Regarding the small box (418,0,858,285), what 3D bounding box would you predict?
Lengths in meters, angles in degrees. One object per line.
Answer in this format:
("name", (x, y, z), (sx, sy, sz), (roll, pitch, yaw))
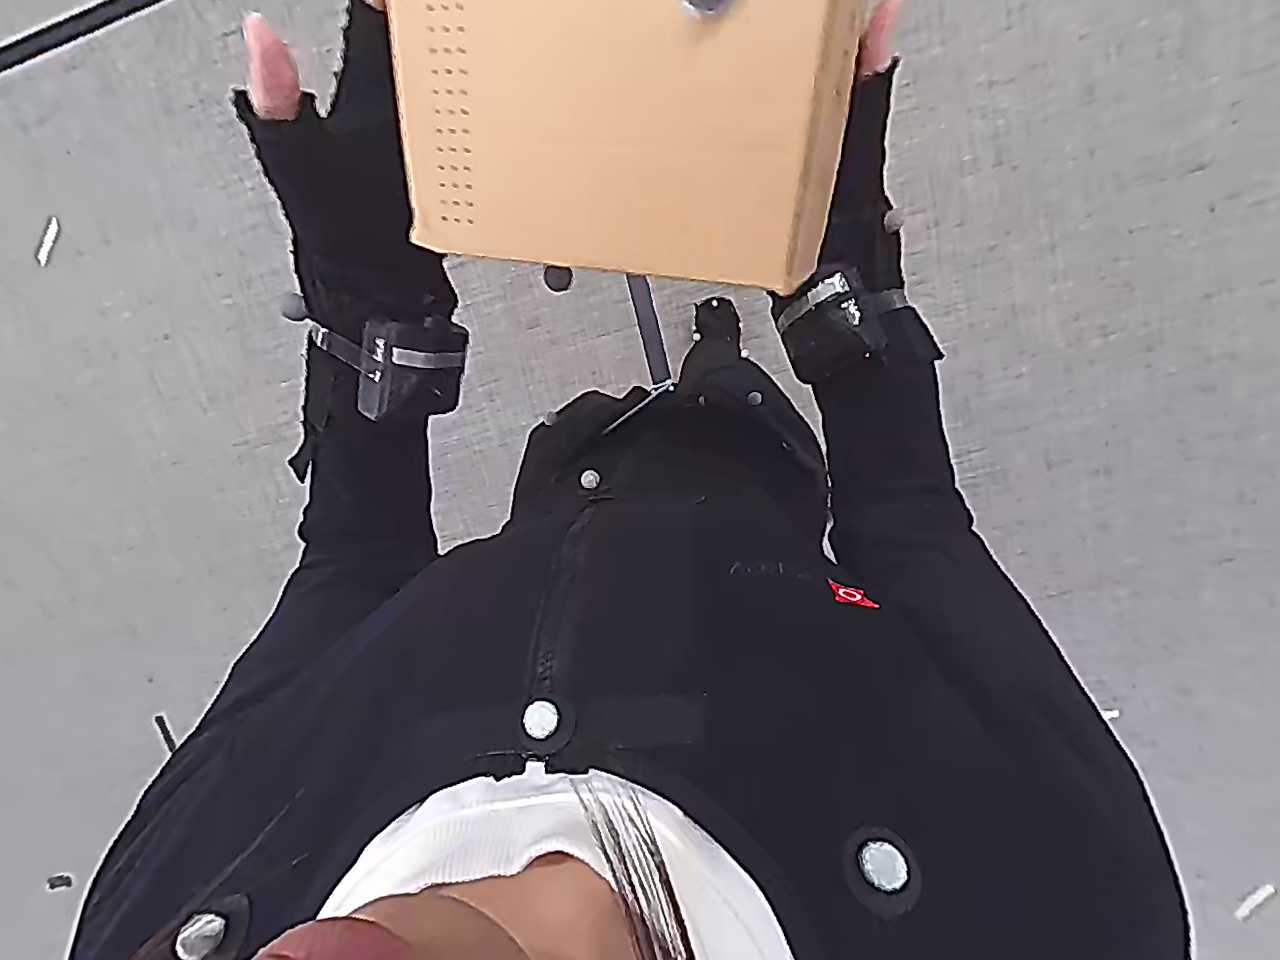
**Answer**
("small box", (0.009, -0.198, 0.265), (0.176, 0.168, 0.179), (12, 116, 15))
